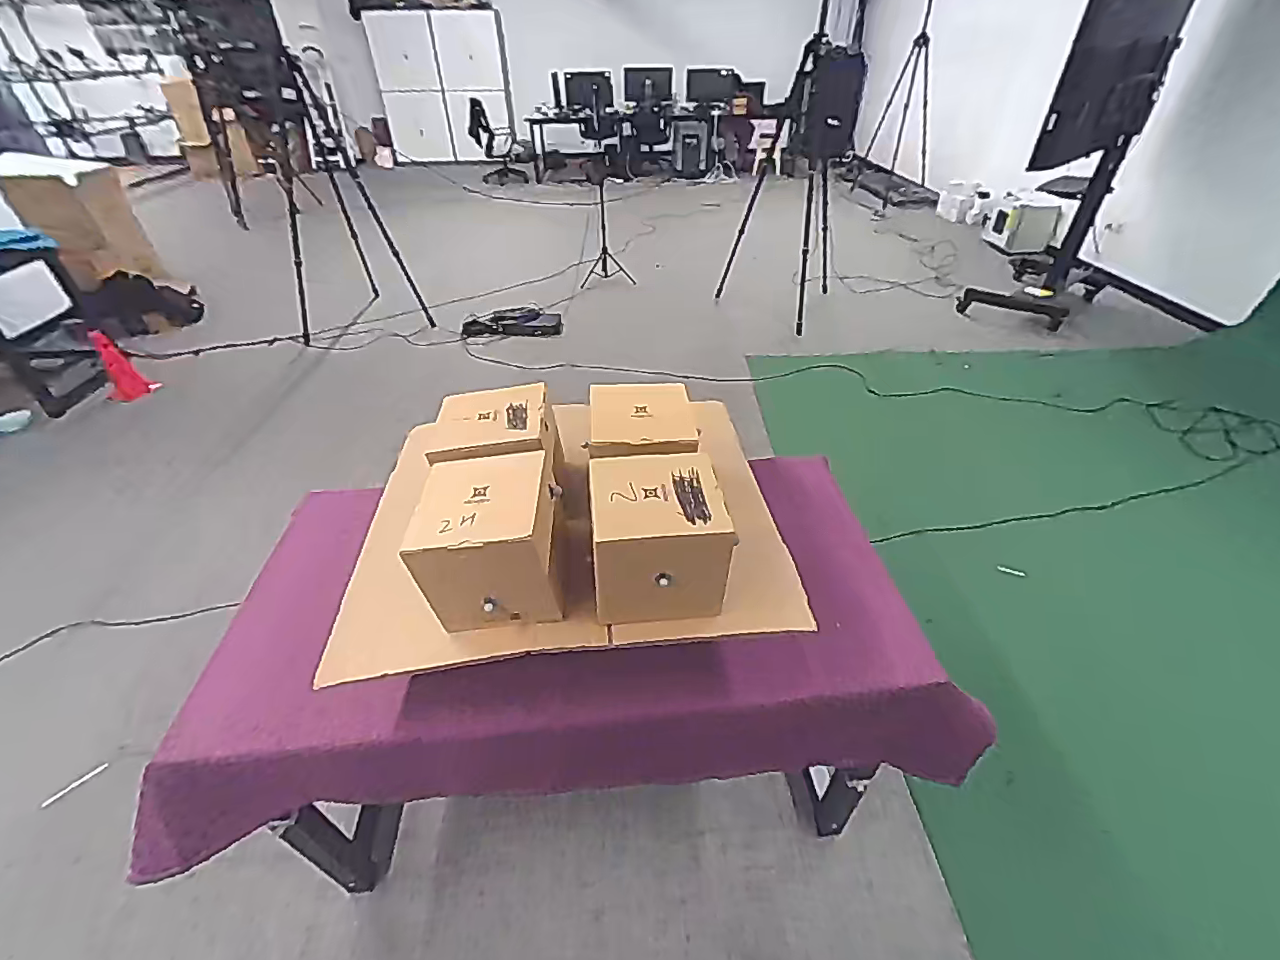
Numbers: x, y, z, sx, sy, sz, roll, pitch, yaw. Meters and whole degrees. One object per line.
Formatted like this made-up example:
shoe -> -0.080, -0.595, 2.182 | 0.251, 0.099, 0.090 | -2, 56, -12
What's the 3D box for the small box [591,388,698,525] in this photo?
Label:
small box -> -0.001, -0.042, 0.927 | 0.168, 0.176, 0.179 | -2, 40, -4
